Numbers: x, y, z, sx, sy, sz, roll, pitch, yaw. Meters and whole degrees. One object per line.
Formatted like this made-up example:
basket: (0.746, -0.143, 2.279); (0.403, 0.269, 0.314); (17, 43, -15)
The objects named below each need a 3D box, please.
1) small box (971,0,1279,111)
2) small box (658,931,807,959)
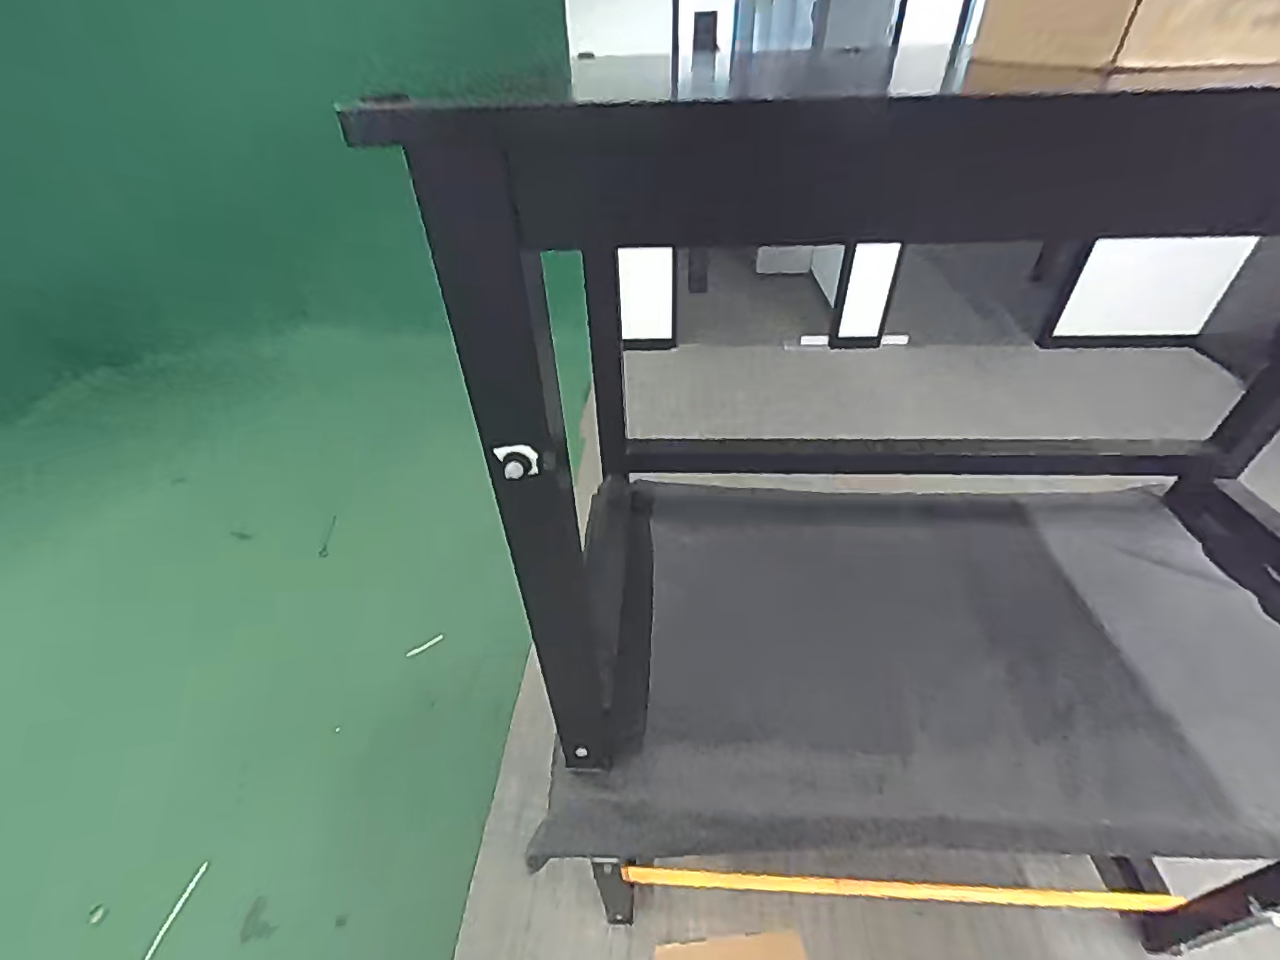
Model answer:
small box: (0.330, -0.321, 0.310); (0.168, 0.176, 0.179); (0, 40, 2)
small box: (0.112, 0.624, 0.558); (0.168, 0.176, 0.179); (-9, 21, 1)
